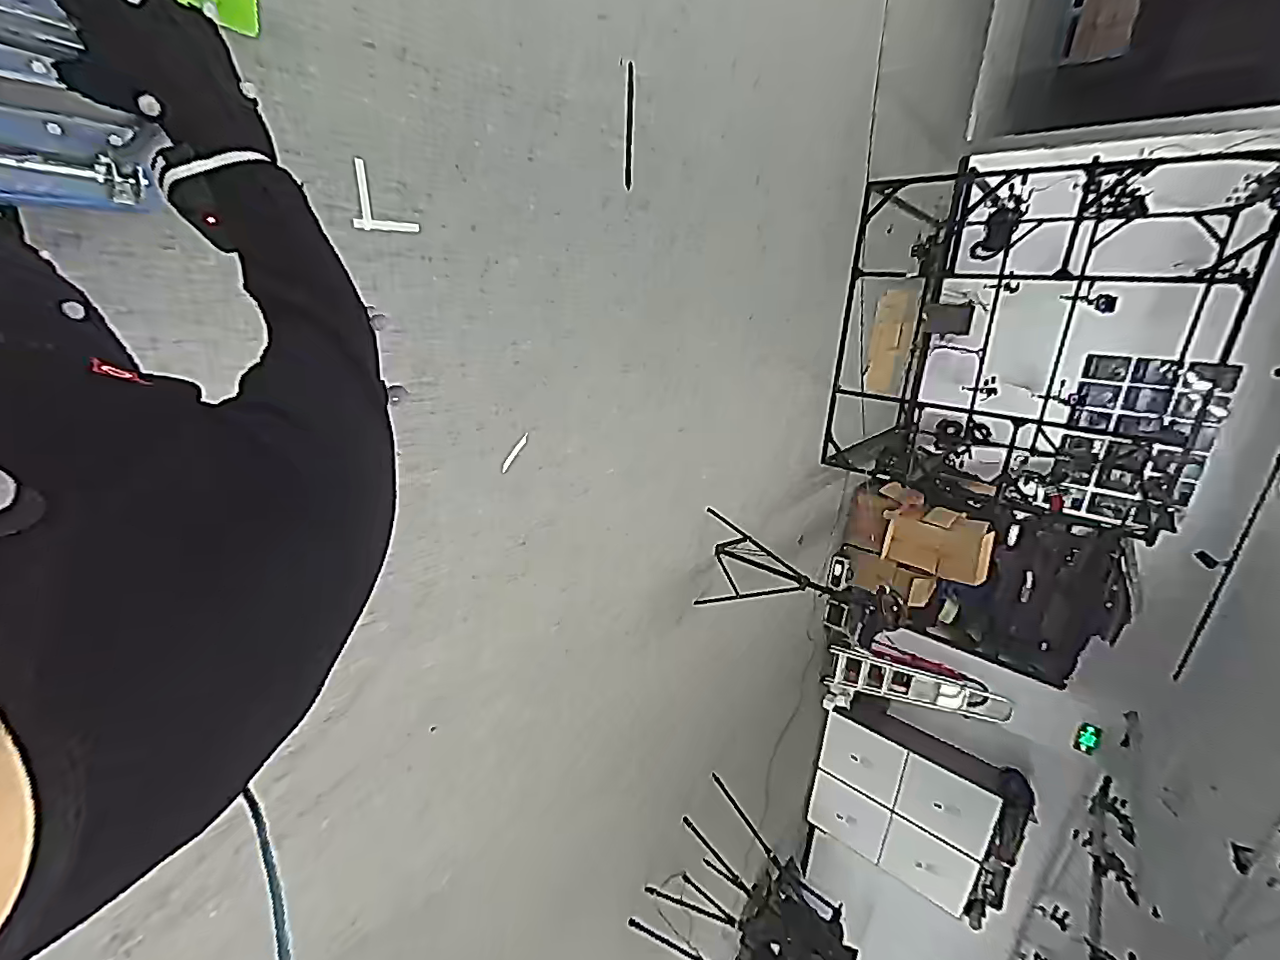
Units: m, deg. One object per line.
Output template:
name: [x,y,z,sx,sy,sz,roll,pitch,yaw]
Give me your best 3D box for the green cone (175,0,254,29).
green cone: [-0.711,-0.956,0.910,0.202,0.368,0.200,-14,115,-50]
